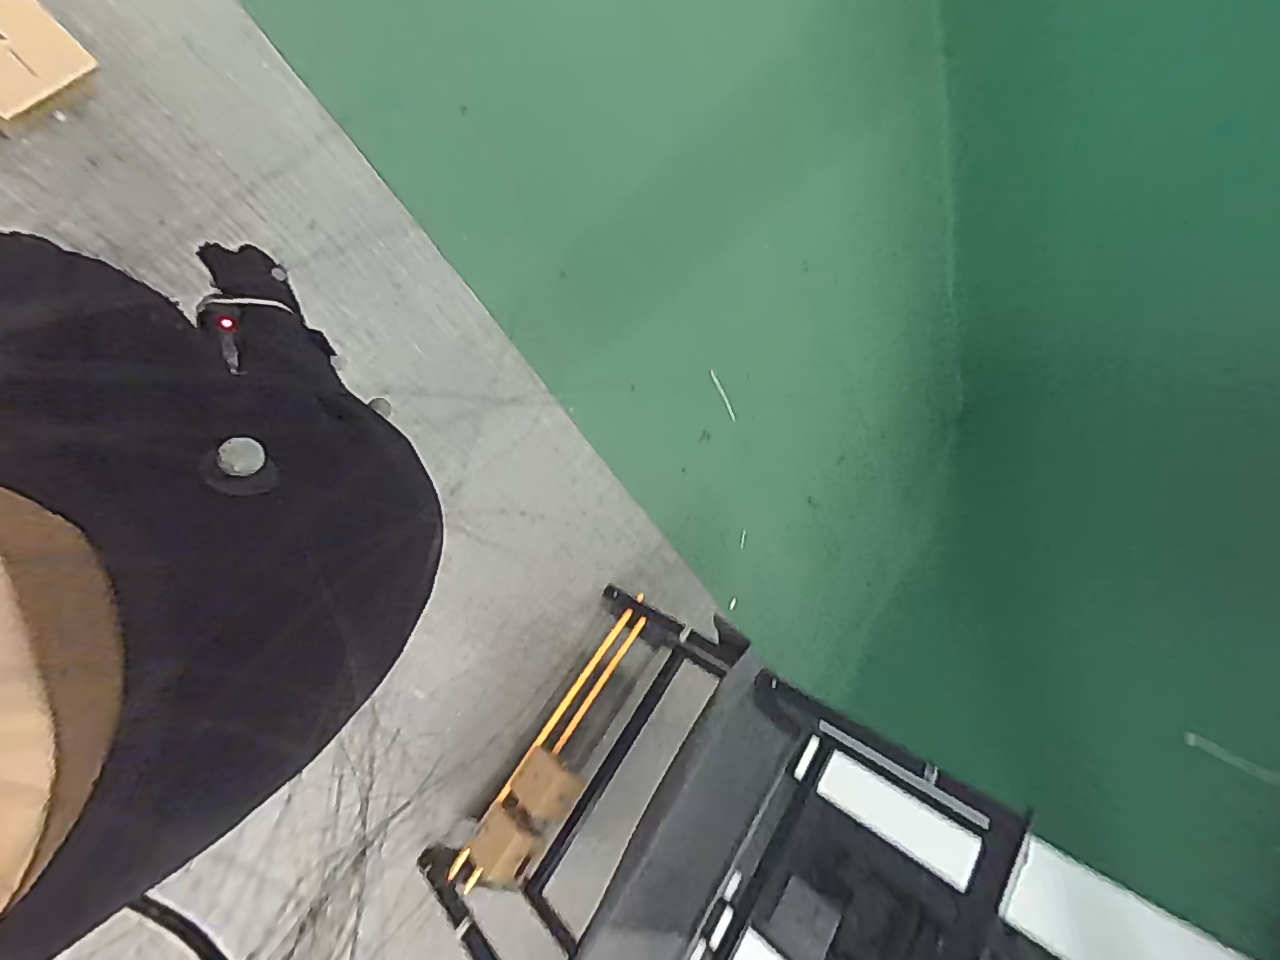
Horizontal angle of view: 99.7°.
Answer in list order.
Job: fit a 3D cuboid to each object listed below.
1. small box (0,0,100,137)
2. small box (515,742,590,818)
[{"bbox_3d":[-1.001,-0.671,0.833,0.168,0.176,0.179,-55,136,-18],"label":"small box"},{"bbox_3d":[-0.323,1.093,1.978,0.168,0.176,0.179,-54,134,-17],"label":"small box"}]
